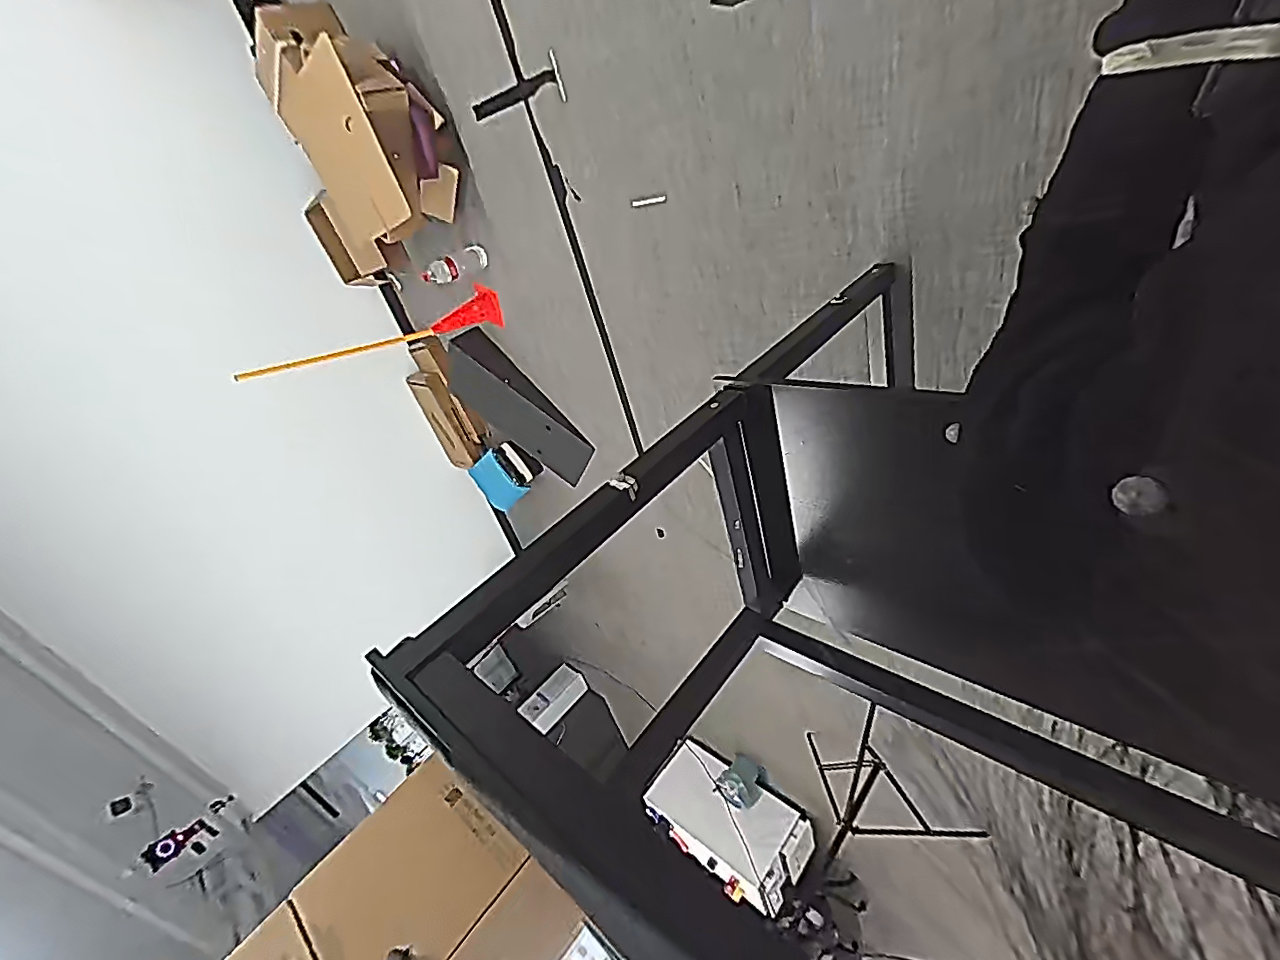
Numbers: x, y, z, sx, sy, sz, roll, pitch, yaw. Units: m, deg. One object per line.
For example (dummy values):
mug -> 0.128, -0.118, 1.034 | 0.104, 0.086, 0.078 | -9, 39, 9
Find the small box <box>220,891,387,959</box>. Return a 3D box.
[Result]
small box -> -0.288, 0.502, 0.452 | 0.168, 0.176, 0.179 | 18, 138, 39
